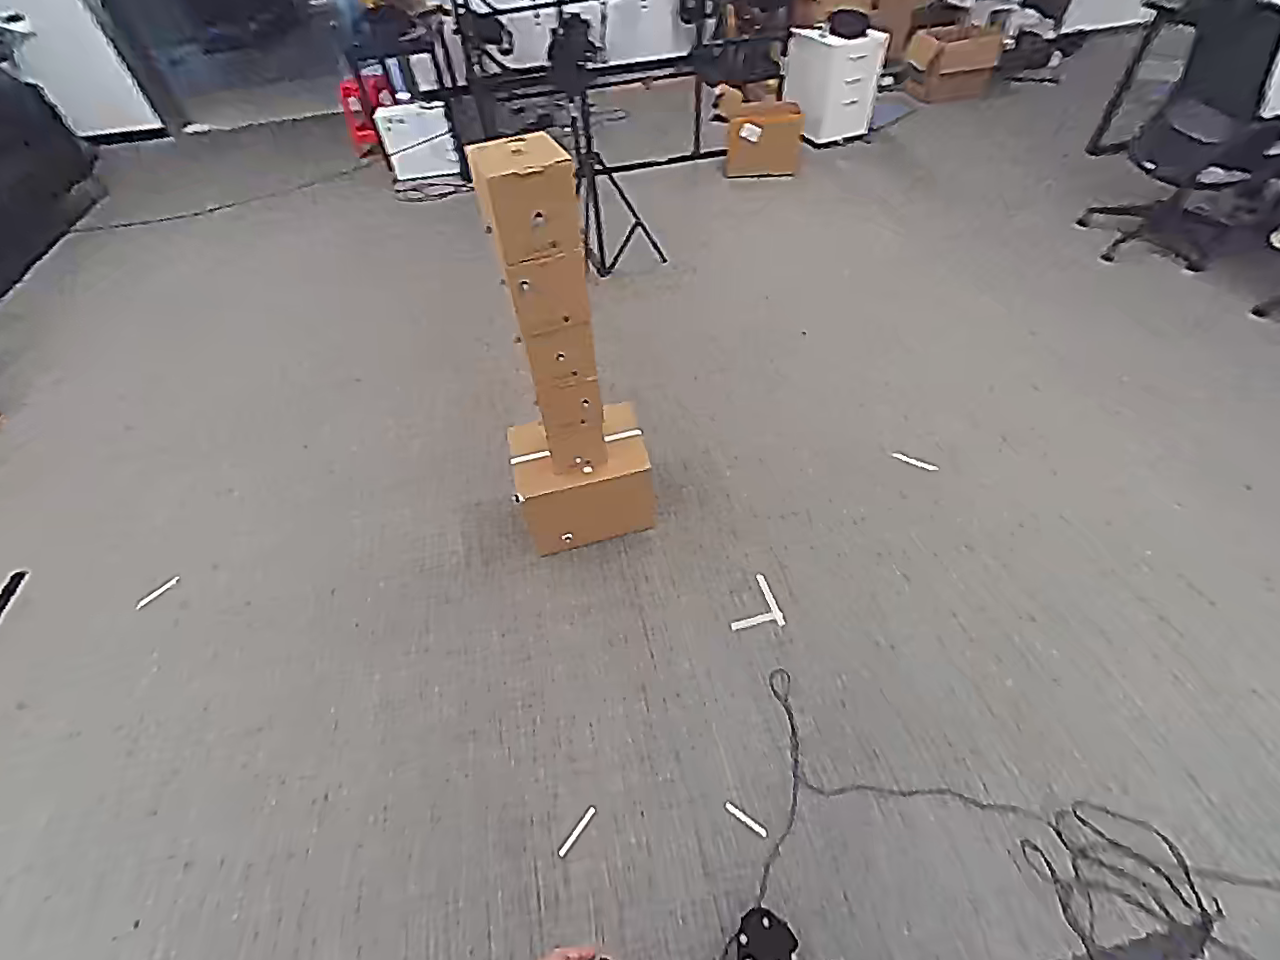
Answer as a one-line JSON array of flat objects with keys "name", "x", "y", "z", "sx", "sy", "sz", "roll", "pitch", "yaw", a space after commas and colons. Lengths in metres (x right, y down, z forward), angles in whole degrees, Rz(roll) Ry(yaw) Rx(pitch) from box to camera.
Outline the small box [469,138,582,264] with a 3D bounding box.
[{"name": "small box", "x": -0.226, "y": -0.557, "z": 1.094, "sx": 0.168, "sy": 0.176, "sz": 0.179, "roll": -20, "pitch": 53, "yaw": -14}]

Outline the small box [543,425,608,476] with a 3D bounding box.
[{"name": "small box", "x": -0.196, "y": -0.140, "z": 1.598, "sx": 0.168, "sy": 0.176, "sz": 0.179, "roll": -14, "pitch": 51, "yaw": -7}]

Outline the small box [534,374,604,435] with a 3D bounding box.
[{"name": "small box", "x": -0.199, "y": -0.241, "z": 1.471, "sx": 0.168, "sy": 0.176, "sz": 0.179, "roll": -14, "pitch": 50, "yaw": -9}]

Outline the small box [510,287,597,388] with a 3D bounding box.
[{"name": "small box", "x": -0.212, "y": -0.349, "z": 1.347, "sx": 0.168, "sy": 0.176, "sz": 0.179, "roll": -17, "pitch": 51, "yaw": -12}]
